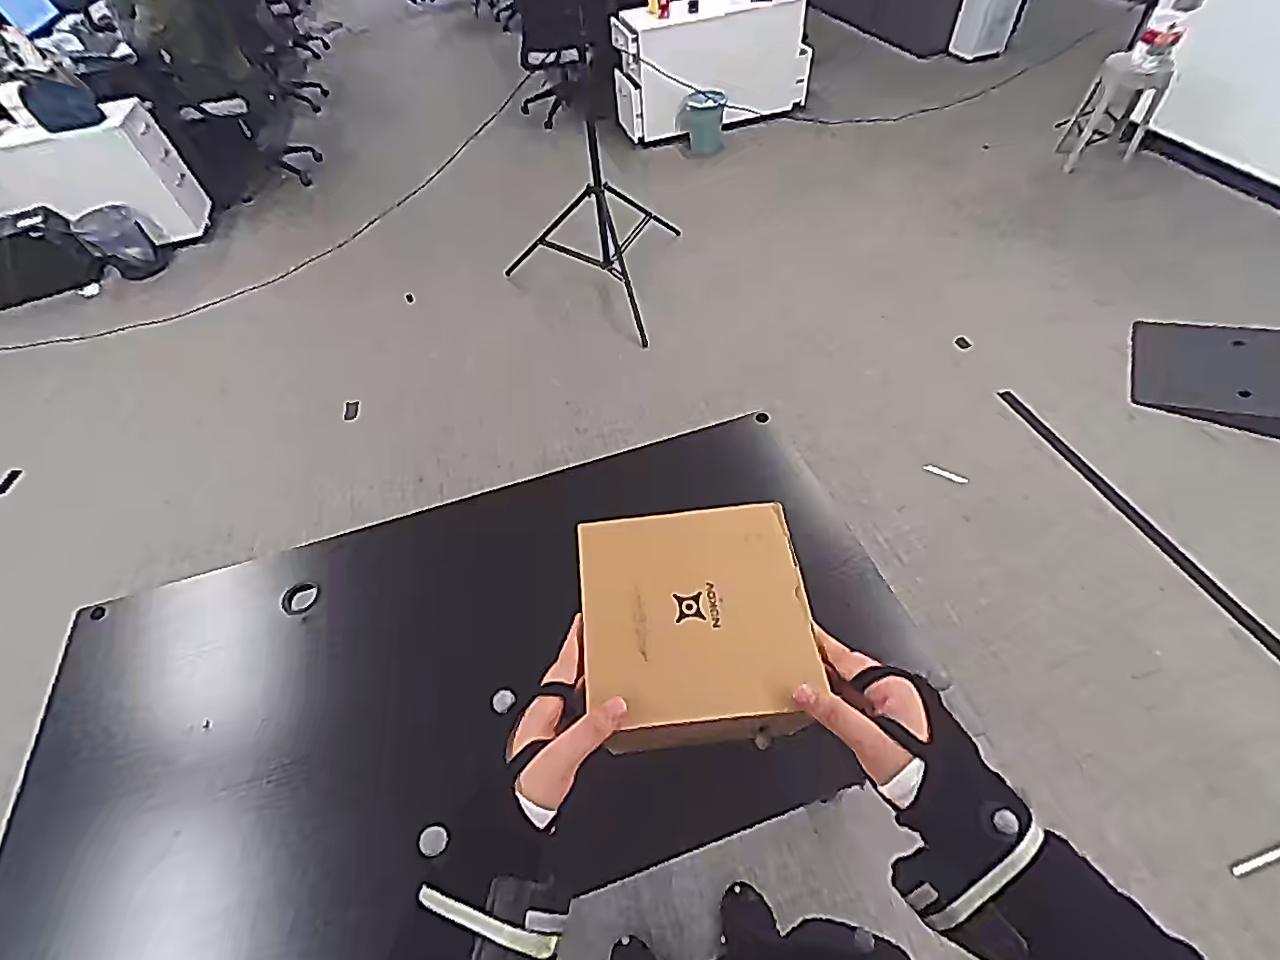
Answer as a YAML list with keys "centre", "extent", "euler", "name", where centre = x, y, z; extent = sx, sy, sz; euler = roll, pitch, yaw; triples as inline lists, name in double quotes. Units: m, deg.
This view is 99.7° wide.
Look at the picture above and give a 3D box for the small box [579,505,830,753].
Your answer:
- centre: [0.046, 0.141, 0.488]
  extent: [0.179, 0.176, 0.168]
  euler: [-8, 58, 0]
  name: "small box"
